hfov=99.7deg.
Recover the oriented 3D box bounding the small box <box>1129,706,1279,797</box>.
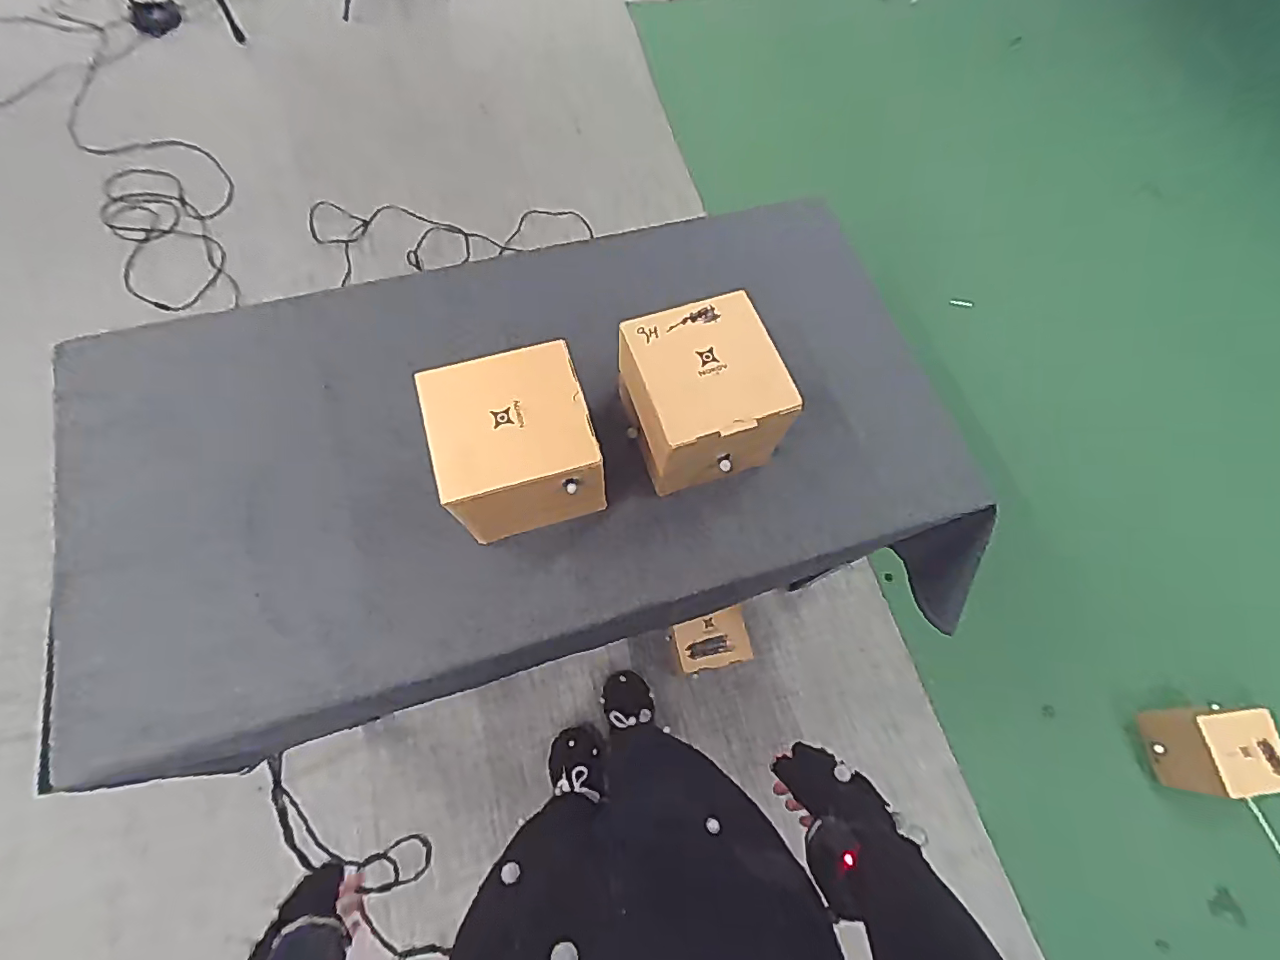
[{"bbox_3d":[1.327,0.629,1.270,0.179,0.176,0.168,-5,69,-4],"label":"small box"}]

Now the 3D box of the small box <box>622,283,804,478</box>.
[{"bbox_3d":[0.080,-0.116,0.699,0.168,0.176,0.179,-16,72,-10],"label":"small box"}]
